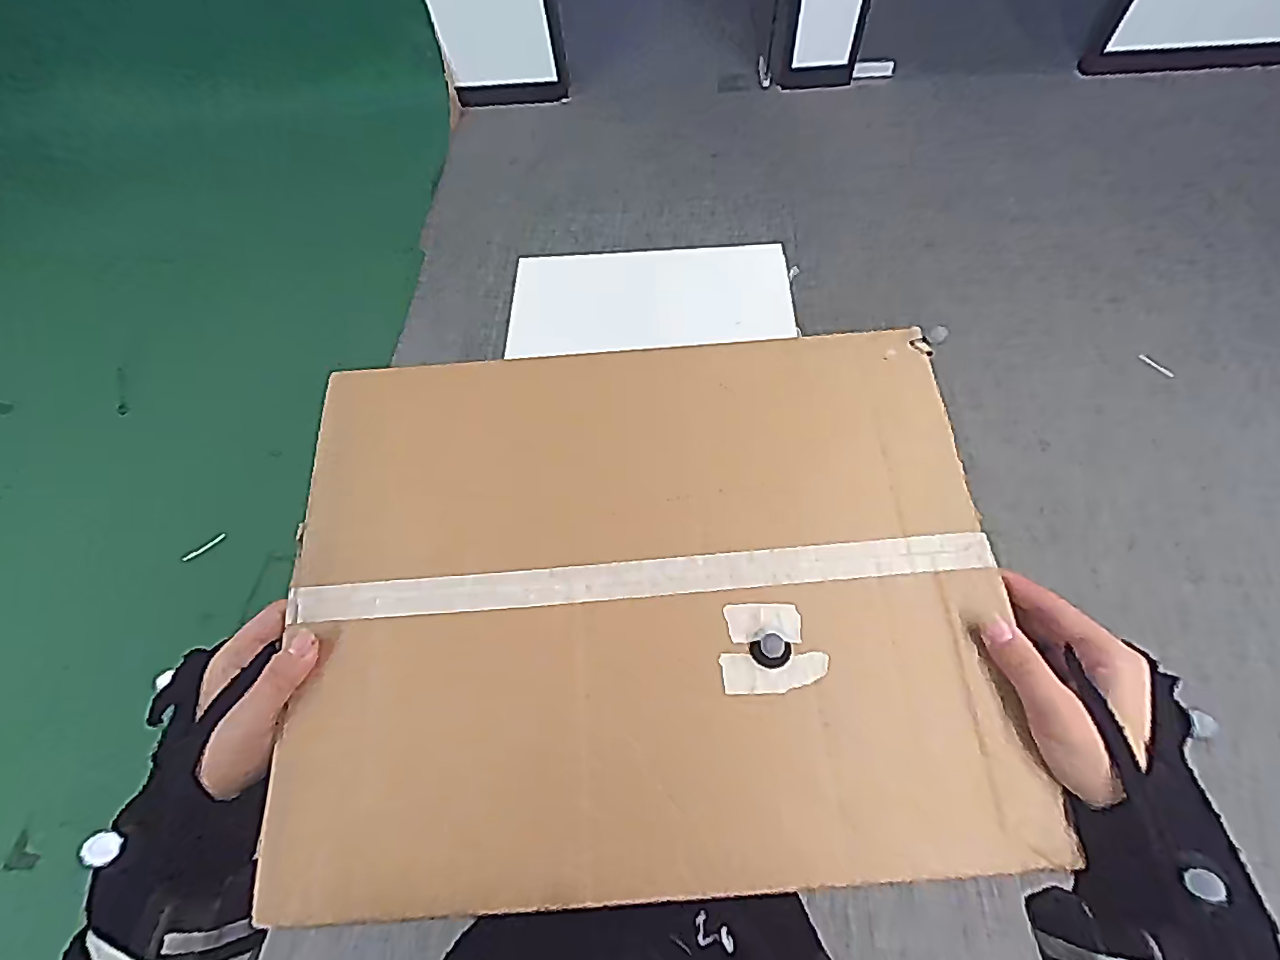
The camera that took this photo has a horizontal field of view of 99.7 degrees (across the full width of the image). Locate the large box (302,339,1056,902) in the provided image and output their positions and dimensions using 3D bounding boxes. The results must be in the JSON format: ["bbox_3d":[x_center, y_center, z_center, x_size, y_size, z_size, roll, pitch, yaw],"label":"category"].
[{"bbox_3d":[0.011,0.110,0.471,0.408,0.320,0.320,-4,70,-1],"label":"large box"}]
